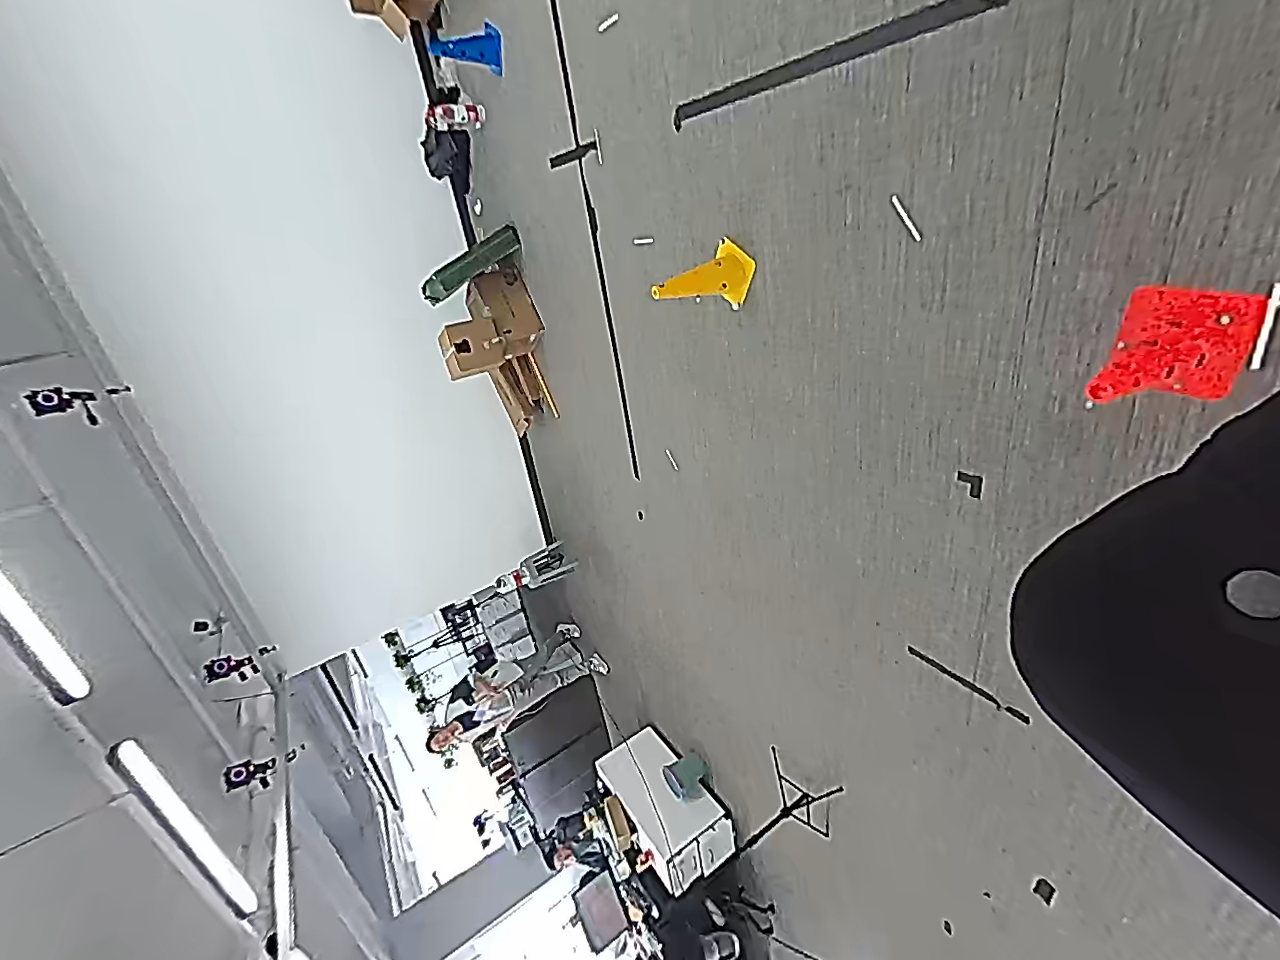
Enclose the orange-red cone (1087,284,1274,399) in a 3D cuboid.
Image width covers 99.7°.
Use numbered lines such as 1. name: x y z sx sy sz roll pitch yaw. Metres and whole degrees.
1. orange-red cone: 0.920 -0.216 0.986 0.199 0.360 0.198 38 141 48
